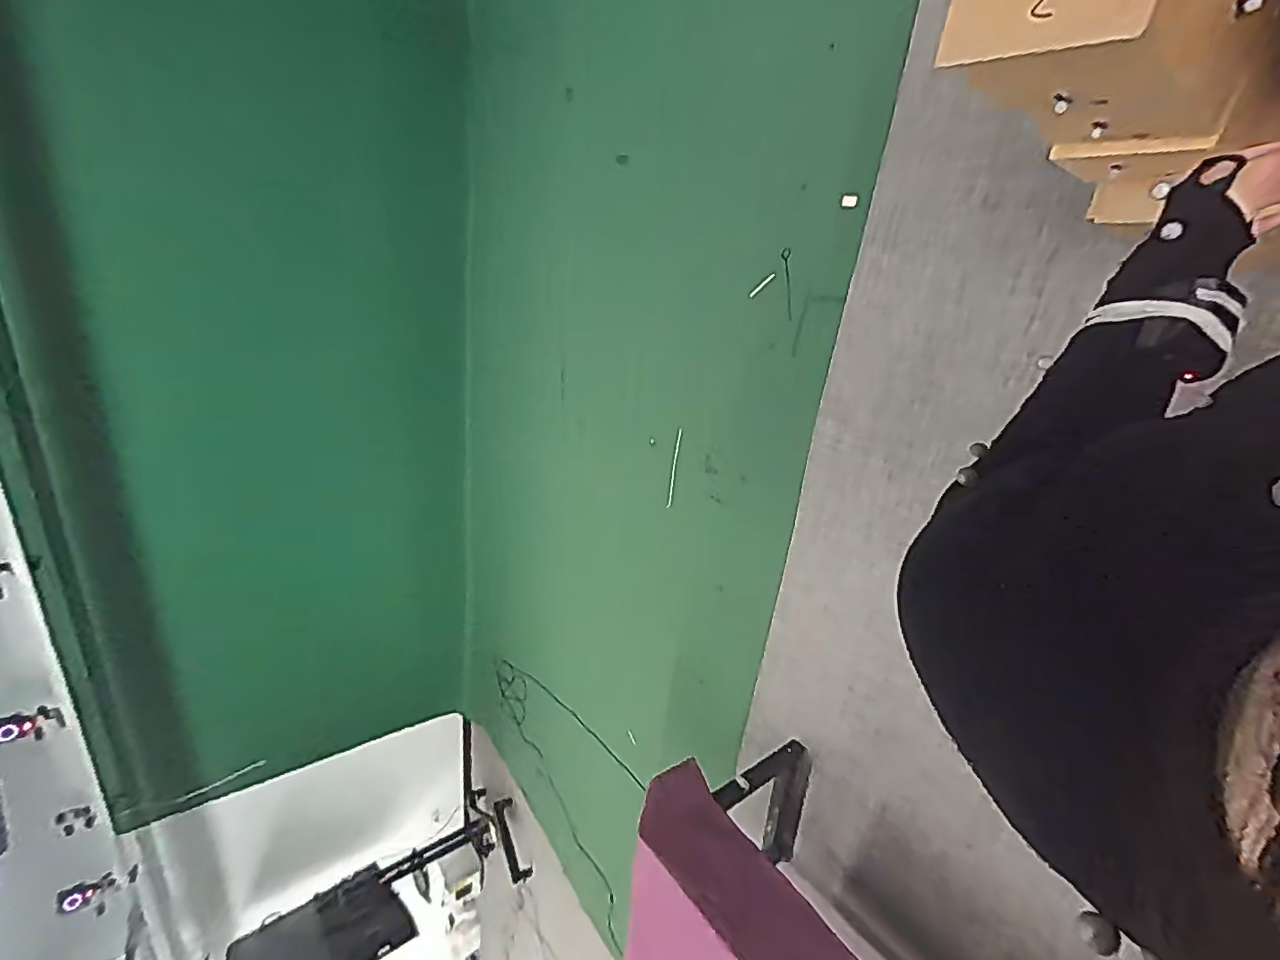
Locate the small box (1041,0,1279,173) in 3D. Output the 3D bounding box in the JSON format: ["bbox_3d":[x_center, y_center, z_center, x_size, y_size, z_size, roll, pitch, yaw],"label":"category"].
[{"bbox_3d":[0.664,-0.503,0.692,0.168,0.176,0.179,31,121,45],"label":"small box"}]
